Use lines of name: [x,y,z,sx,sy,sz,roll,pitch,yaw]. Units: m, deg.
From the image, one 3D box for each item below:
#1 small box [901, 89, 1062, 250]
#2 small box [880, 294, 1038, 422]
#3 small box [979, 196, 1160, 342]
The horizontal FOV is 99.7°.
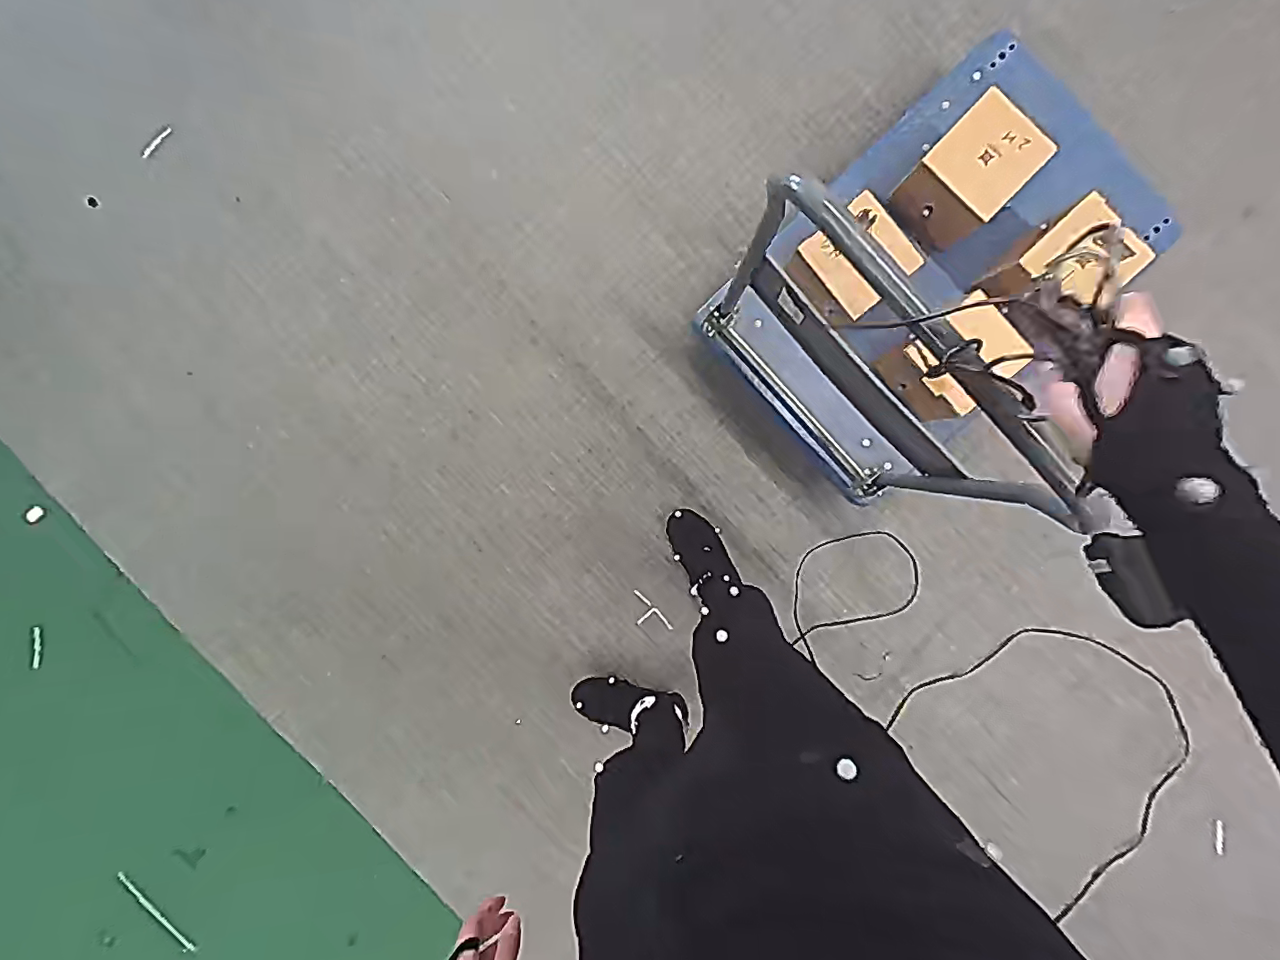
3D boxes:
small box: [0.638,-0.582,1.044,0.168,0.176,0.179,45,95,-1]
small box: [0.618,-0.231,1.072,0.179,0.176,0.168,-41,91,6]
small box: [0.814,-0.396,1.046,0.179,0.176,0.168,-43,90,6]
